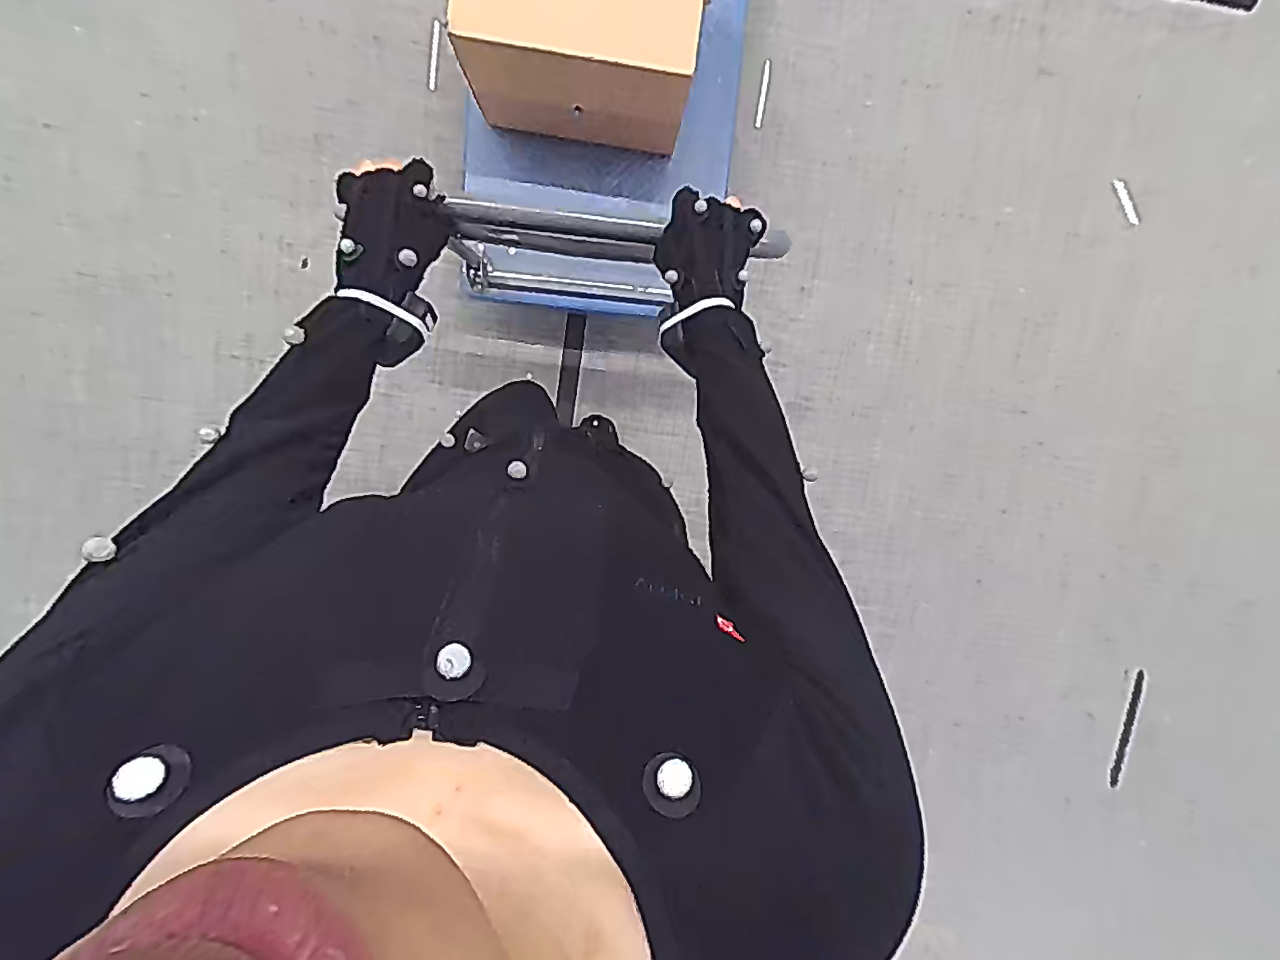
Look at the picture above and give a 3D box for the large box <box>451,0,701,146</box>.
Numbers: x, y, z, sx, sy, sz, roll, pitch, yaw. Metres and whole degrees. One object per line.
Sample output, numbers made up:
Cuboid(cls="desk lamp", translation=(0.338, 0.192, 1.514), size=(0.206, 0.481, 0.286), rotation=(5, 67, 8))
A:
Cuboid(cls="large box", translation=(-0.099, -0.872, 1.009), size=(0.408, 0.320, 0.320), rotation=(7, 99, -4))
